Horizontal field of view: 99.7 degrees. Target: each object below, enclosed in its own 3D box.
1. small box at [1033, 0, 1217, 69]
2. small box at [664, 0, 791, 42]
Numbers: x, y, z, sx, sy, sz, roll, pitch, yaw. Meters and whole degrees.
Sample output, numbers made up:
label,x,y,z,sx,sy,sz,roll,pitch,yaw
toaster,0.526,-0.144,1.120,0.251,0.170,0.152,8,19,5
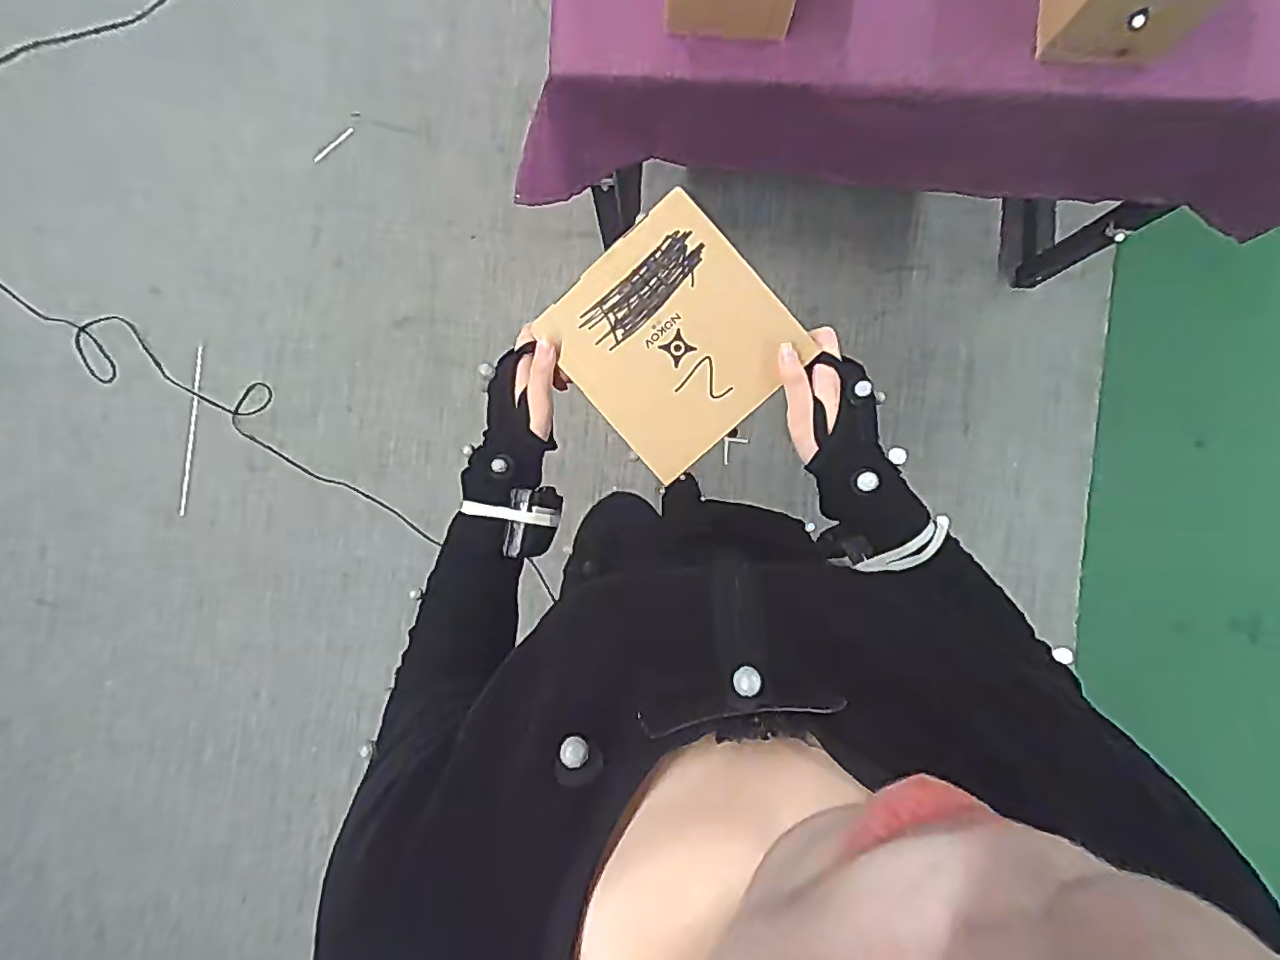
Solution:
label,x,y,z,sx,sy,sz,roll,pitch,yaw
small box,0.646,-0.675,0.694,0.168,0.176,0.179,6,89,1
small box,0.125,-0.724,0.710,0.179,0.176,0.168,5,89,1
